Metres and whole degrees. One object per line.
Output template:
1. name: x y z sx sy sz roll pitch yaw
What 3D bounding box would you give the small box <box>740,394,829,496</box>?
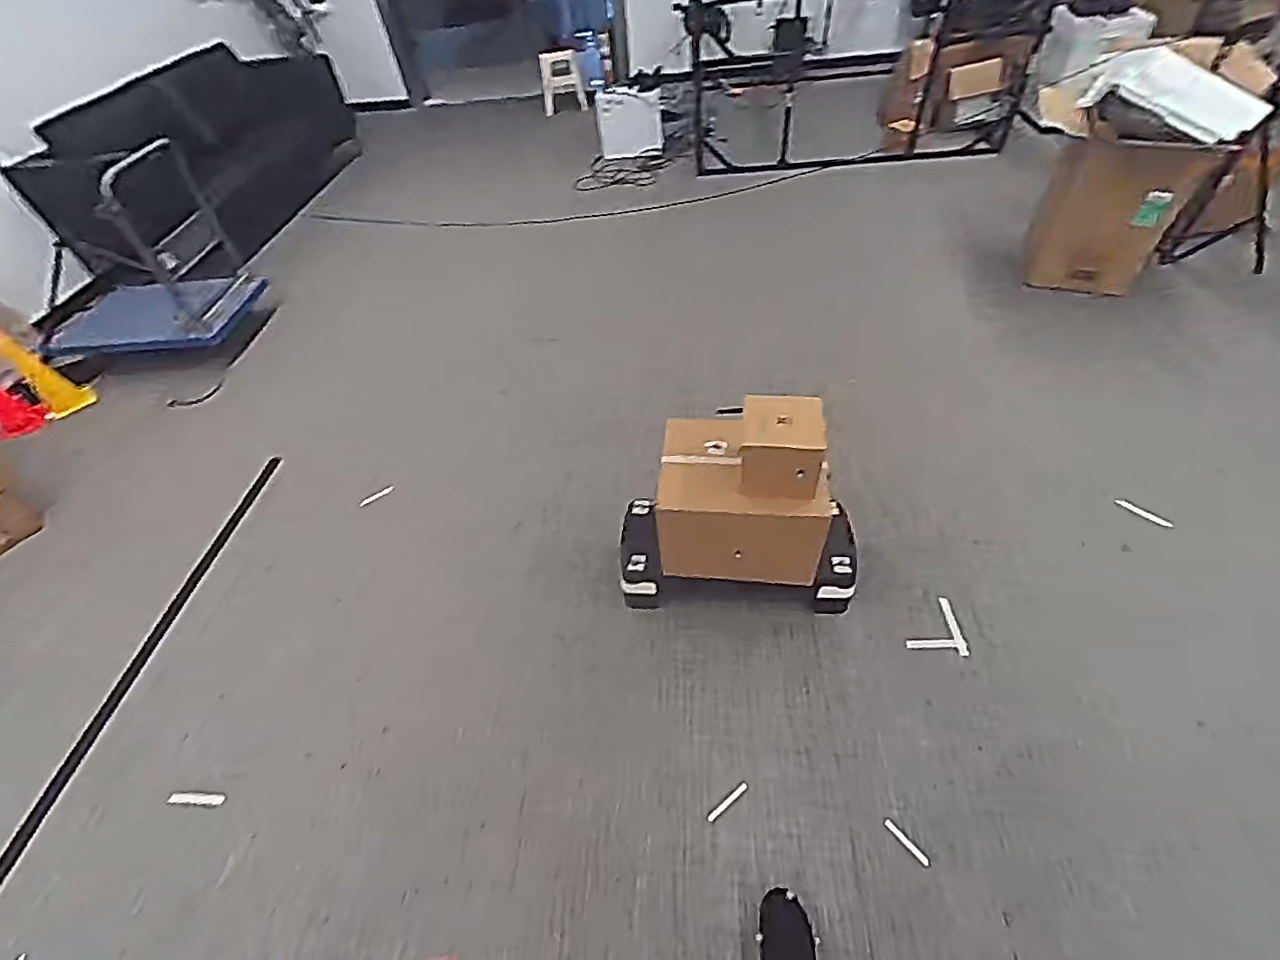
1. small box: 0.323 -0.077 1.231 0.179 0.176 0.168 3 50 11

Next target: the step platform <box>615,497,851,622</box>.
1. step platform: 0.268 0.225 1.619 0.684 0.204 0.286 3 49 11

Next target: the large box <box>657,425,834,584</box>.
1. large box: 0.271 0.066 1.440 0.408 0.320 0.320 1 48 10
